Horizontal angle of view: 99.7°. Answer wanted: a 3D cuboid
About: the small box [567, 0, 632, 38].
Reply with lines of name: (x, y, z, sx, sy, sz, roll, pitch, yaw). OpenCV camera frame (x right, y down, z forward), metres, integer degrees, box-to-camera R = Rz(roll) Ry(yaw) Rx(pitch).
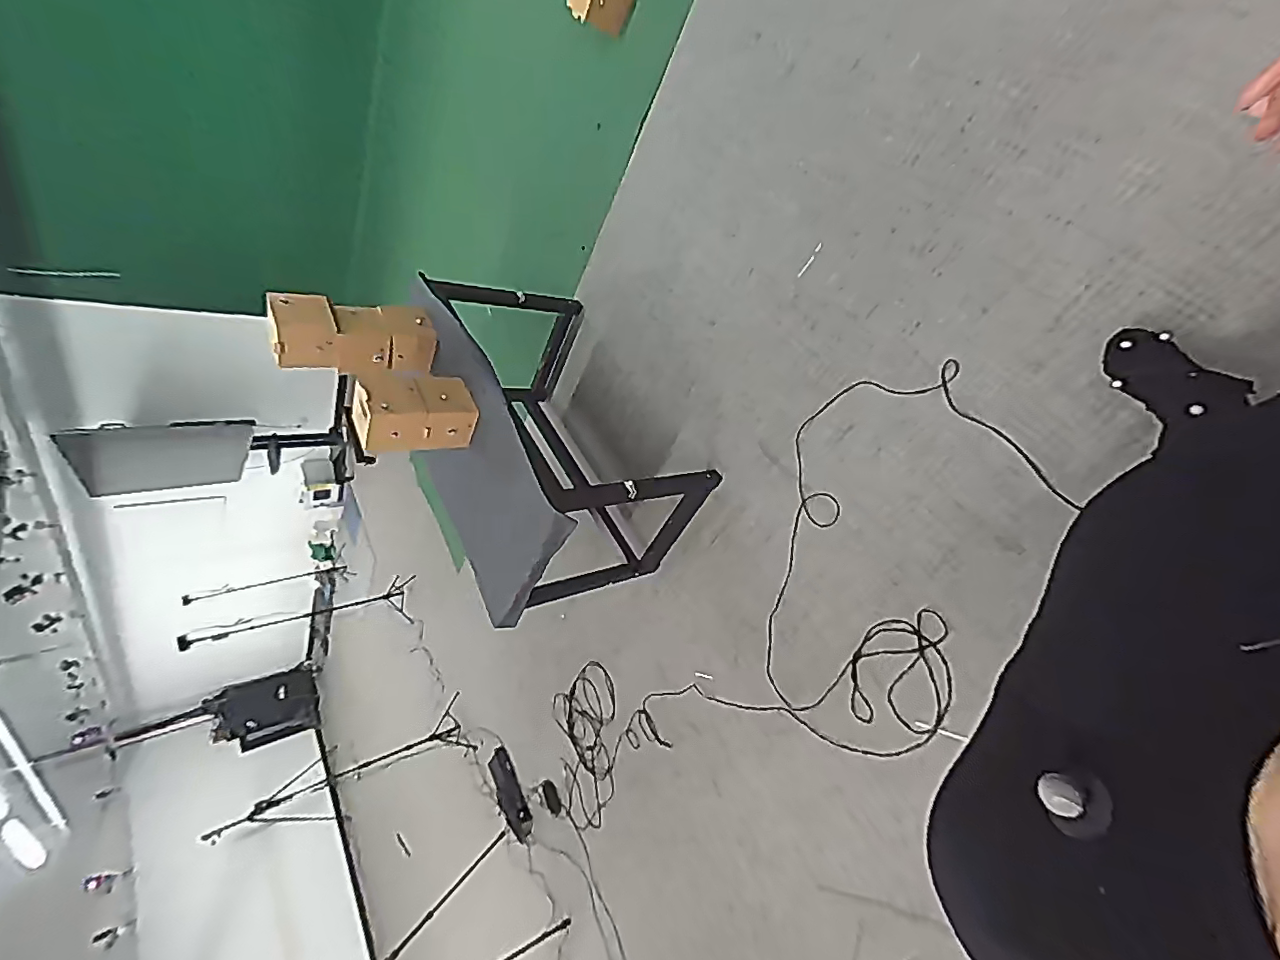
small box: (-0.148, -1.874, 2.093, 0.168, 0.176, 0.179, 58, 133, 25)

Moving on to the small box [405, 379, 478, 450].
small box: (-0.659, -0.224, 1.800, 0.179, 0.176, 0.168, 56, 134, 26)

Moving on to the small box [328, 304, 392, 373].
small box: (-0.983, -0.489, 1.880, 0.179, 0.176, 0.168, 52, 134, 28)

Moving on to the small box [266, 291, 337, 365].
small box: (-1.107, -0.492, 1.768, 0.179, 0.176, 0.168, 57, 136, 26)

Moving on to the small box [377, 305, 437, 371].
small box: (-0.865, -0.517, 1.988, 0.168, 0.176, 0.179, 59, 135, 24)
